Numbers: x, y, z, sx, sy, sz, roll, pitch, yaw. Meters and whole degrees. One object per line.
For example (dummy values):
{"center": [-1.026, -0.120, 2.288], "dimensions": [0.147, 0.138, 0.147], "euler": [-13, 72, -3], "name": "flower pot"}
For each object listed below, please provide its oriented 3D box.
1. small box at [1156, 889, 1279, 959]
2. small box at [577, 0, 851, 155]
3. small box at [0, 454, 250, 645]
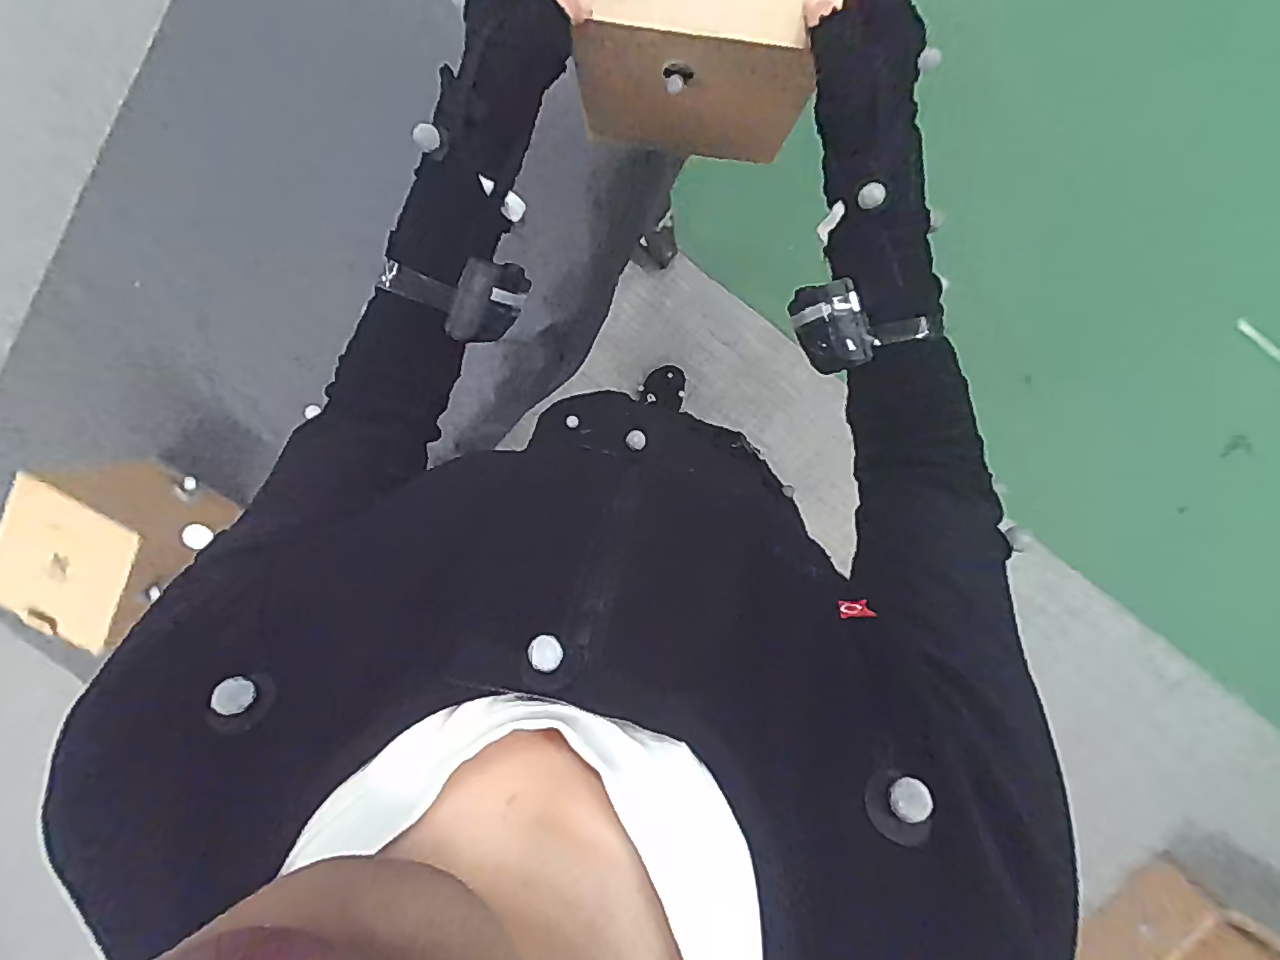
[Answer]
{"center": [1.494, 1.213, 1.383], "dimensions": [0.168, 0.176, 0.179], "euler": [29, 102, 0], "name": "small box"}
{"center": [0.056, -0.377, 0.412], "dimensions": [0.179, 0.176, 0.168], "euler": [8, 99, -2], "name": "small box"}
{"center": [-0.682, 0.082, 0.734], "dimensions": [0.168, 0.176, 0.179], "euler": [28, 100, -1], "name": "small box"}
